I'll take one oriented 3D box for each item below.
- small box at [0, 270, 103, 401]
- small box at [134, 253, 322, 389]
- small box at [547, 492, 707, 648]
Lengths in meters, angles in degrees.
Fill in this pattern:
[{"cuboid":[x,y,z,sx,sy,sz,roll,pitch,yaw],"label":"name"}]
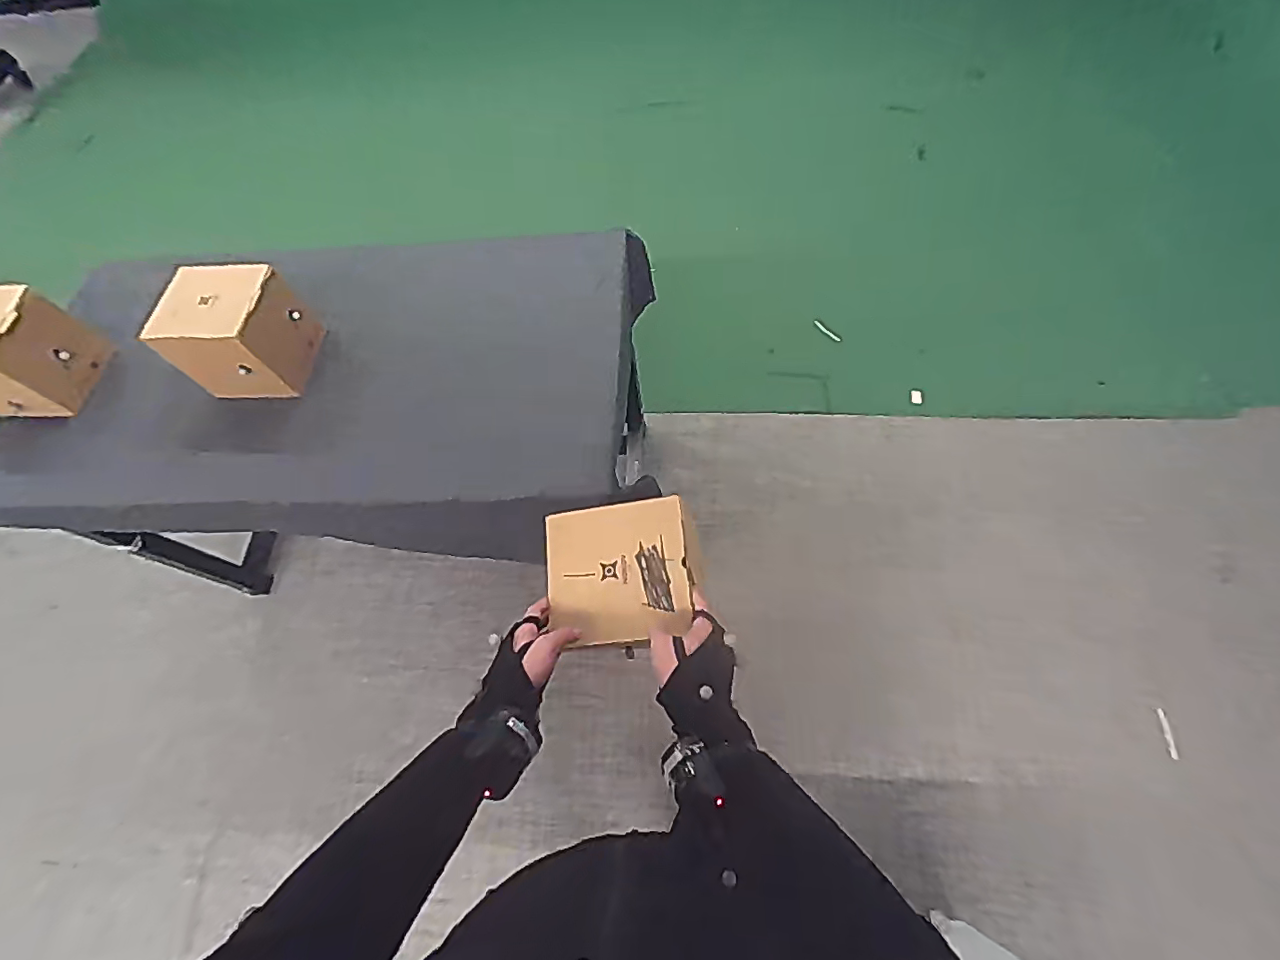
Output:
[{"cuboid":[-1.147,-0.255,0.970,0.179,0.176,0.168,2,63,3],"label":"small box"},{"cuboid":[-0.708,-0.276,0.957,0.179,0.176,0.168,1,62,5],"label":"small box"},{"cuboid":[-0.009,0.125,0.703,0.179,0.176,0.168,-8,69,10],"label":"small box"}]
